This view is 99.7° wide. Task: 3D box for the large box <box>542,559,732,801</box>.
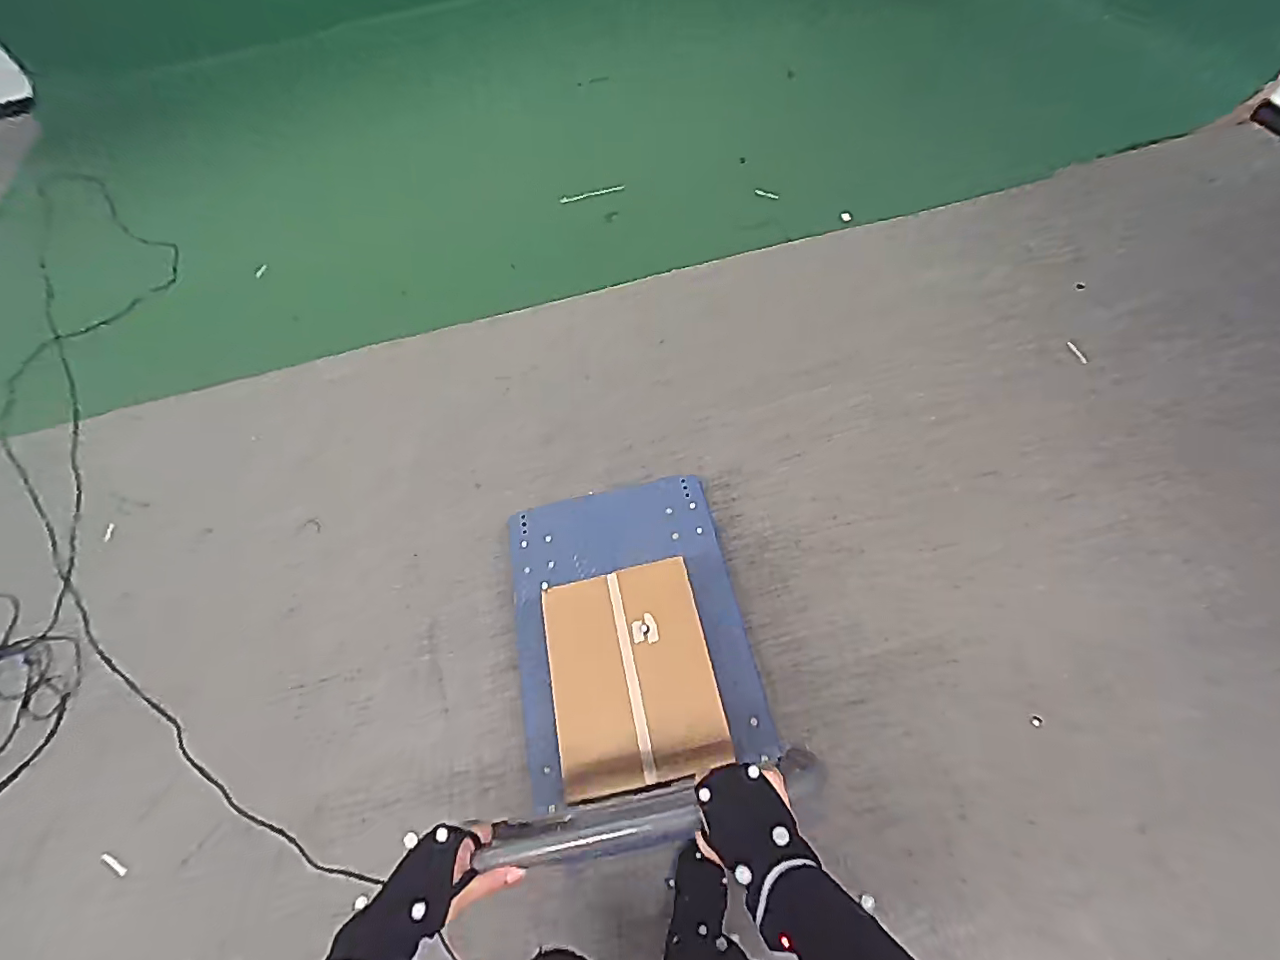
[{"bbox_3d":[-0.002,0.446,1.193,0.320,0.320,0.408,-13,59,0],"label":"large box"}]
